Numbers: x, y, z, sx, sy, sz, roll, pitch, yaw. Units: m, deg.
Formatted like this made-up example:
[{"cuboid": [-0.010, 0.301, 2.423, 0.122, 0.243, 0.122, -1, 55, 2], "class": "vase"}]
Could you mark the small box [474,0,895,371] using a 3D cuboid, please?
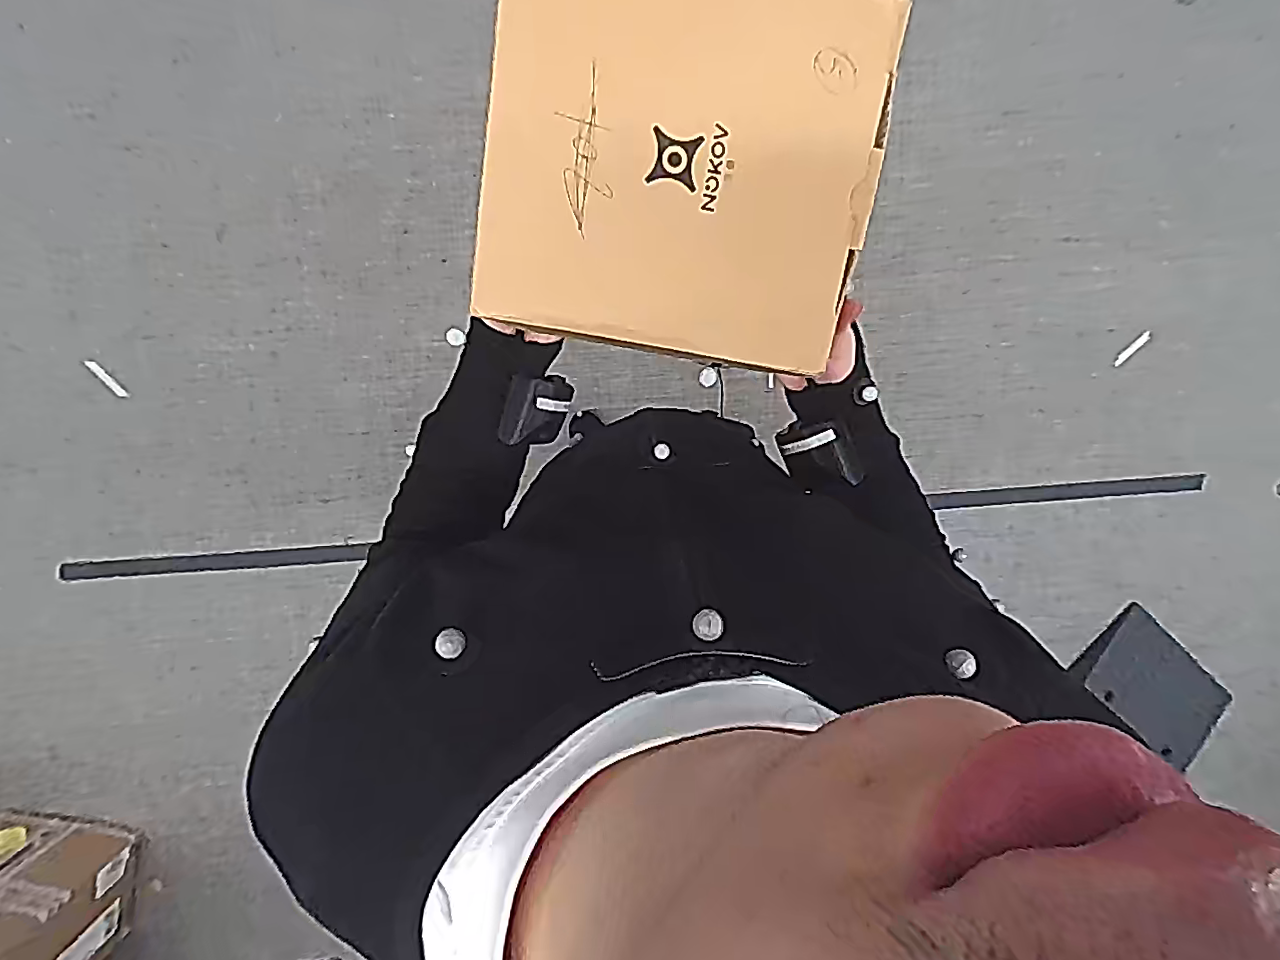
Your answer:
[{"cuboid": [0.014, -0.166, 0.331, 0.179, 0.176, 0.168, 9, 101, -5], "class": "small box"}]
